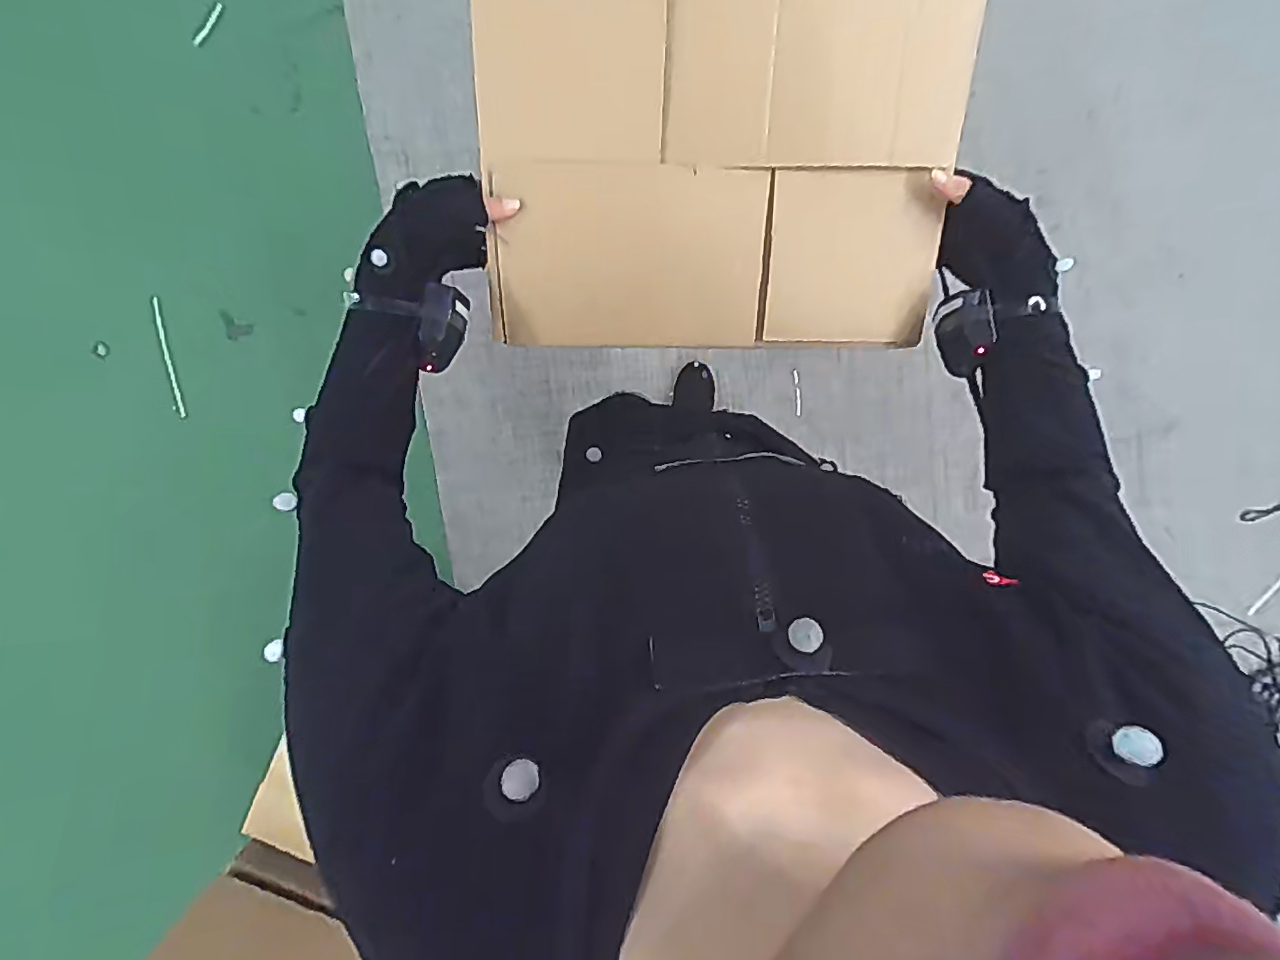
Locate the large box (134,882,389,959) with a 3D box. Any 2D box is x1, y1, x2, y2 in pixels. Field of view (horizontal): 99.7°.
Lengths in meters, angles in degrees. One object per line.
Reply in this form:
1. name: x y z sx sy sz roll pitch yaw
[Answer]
1. large box: -0.739 1.026 0.956 0.408 0.320 0.320 24 103 -1
